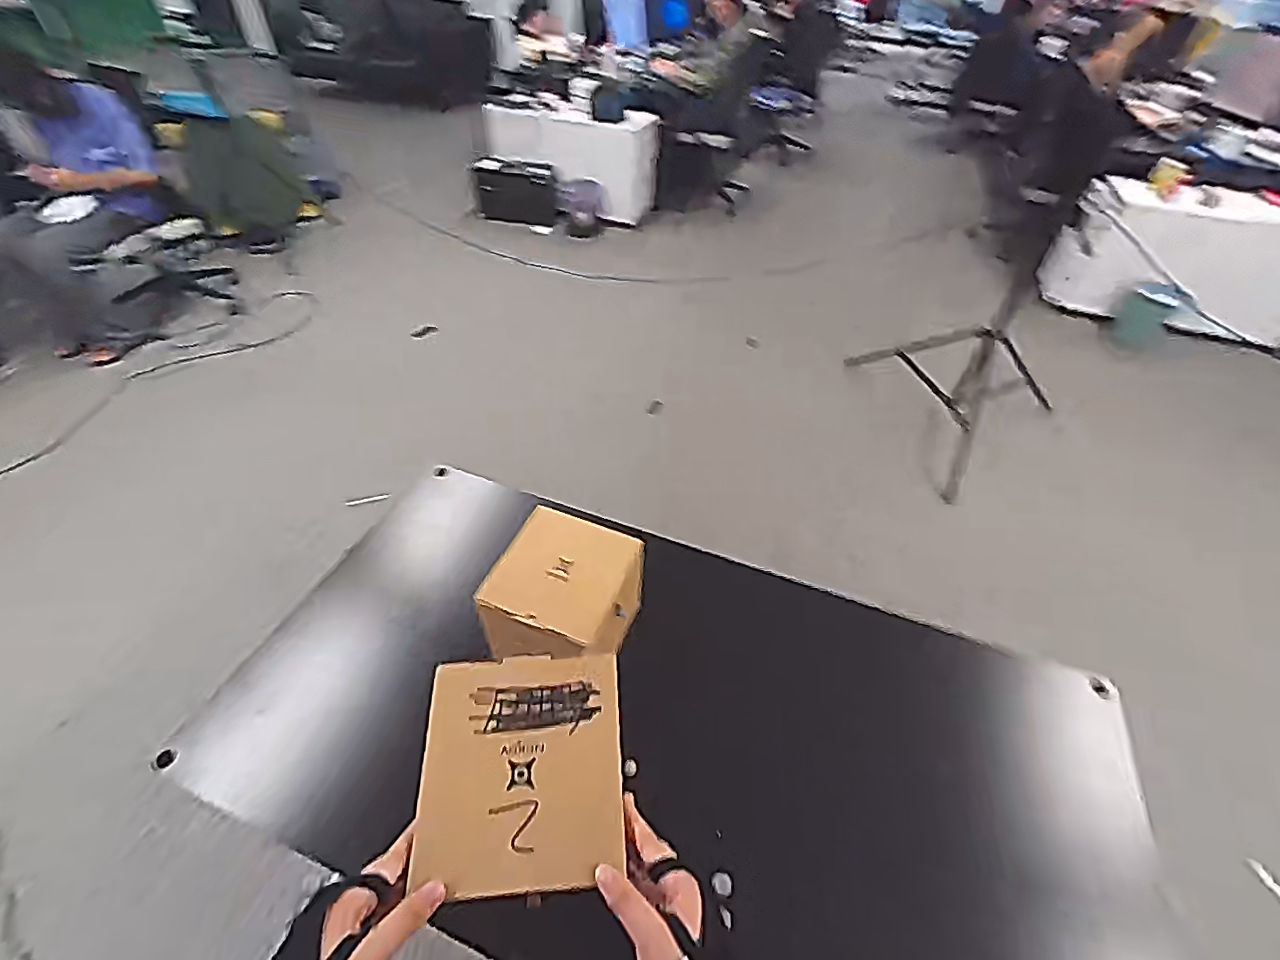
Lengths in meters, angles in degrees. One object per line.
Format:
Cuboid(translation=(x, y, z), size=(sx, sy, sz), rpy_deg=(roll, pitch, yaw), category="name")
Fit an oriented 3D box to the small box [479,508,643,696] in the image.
Cuboid(translation=(-0.106, 0.177, 0.787), size=(0.168, 0.176, 0.179), rpy_deg=(18, 48, 14), category="small box")
